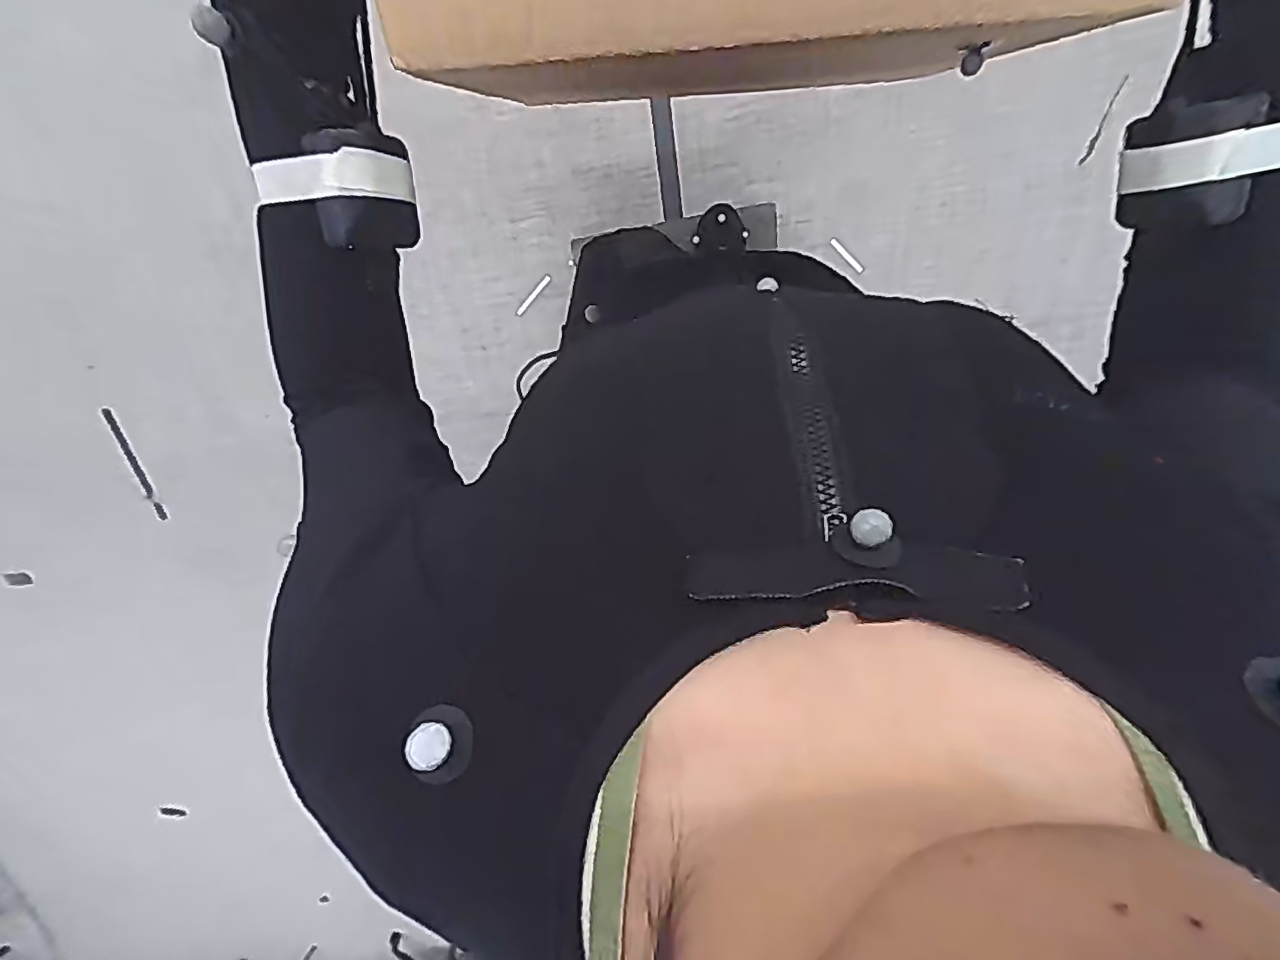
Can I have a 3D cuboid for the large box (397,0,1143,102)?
[{"bbox_3d":[0.067,-0.445,0.341,0.408,0.320,0.320,-1,121,4],"label":"large box"}]
